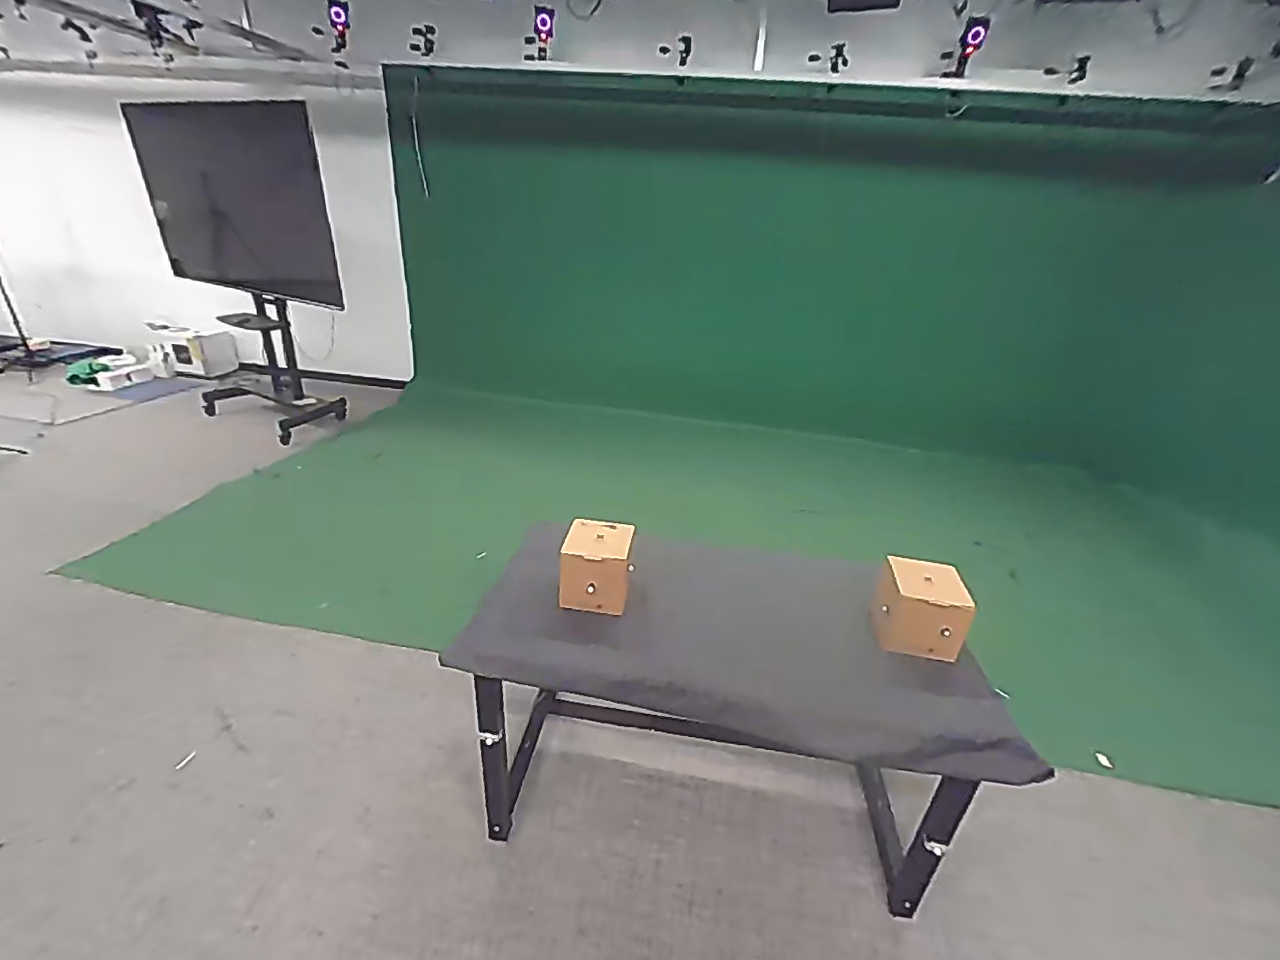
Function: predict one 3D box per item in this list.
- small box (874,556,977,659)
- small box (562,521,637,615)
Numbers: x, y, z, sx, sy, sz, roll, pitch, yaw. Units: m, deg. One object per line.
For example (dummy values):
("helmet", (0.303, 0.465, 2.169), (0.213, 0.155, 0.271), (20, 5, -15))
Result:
("small box", (0.697, 0.316, 1.342), (0.168, 0.176, 0.179), (9, 25, 8))
("small box", (-0.103, 0.230, 1.416), (0.168, 0.176, 0.179), (7, 26, 5))
